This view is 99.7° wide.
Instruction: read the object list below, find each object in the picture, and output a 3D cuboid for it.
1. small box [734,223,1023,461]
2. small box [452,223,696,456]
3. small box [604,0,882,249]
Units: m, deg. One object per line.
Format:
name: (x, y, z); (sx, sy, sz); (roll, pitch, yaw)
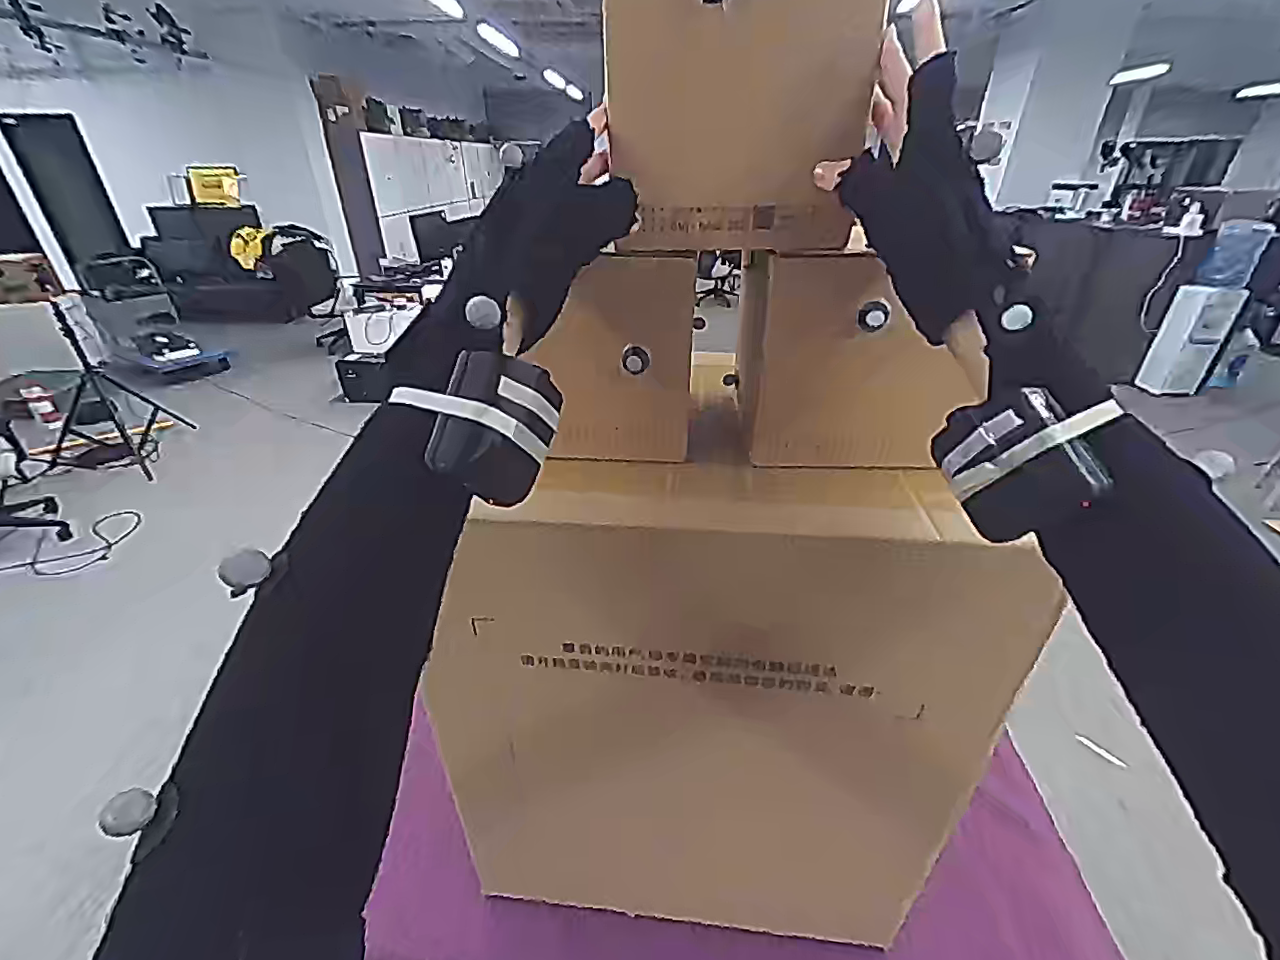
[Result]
small box: (0.179, -0.125, 0.474); (0.179, 0.176, 0.168); (1, 30, 2)
small box: (-0.045, -0.130, 0.488); (0.179, 0.176, 0.168); (2, 29, 2)
small box: (0.064, -0.274, 0.410); (0.168, 0.176, 0.179); (0, 29, 4)
